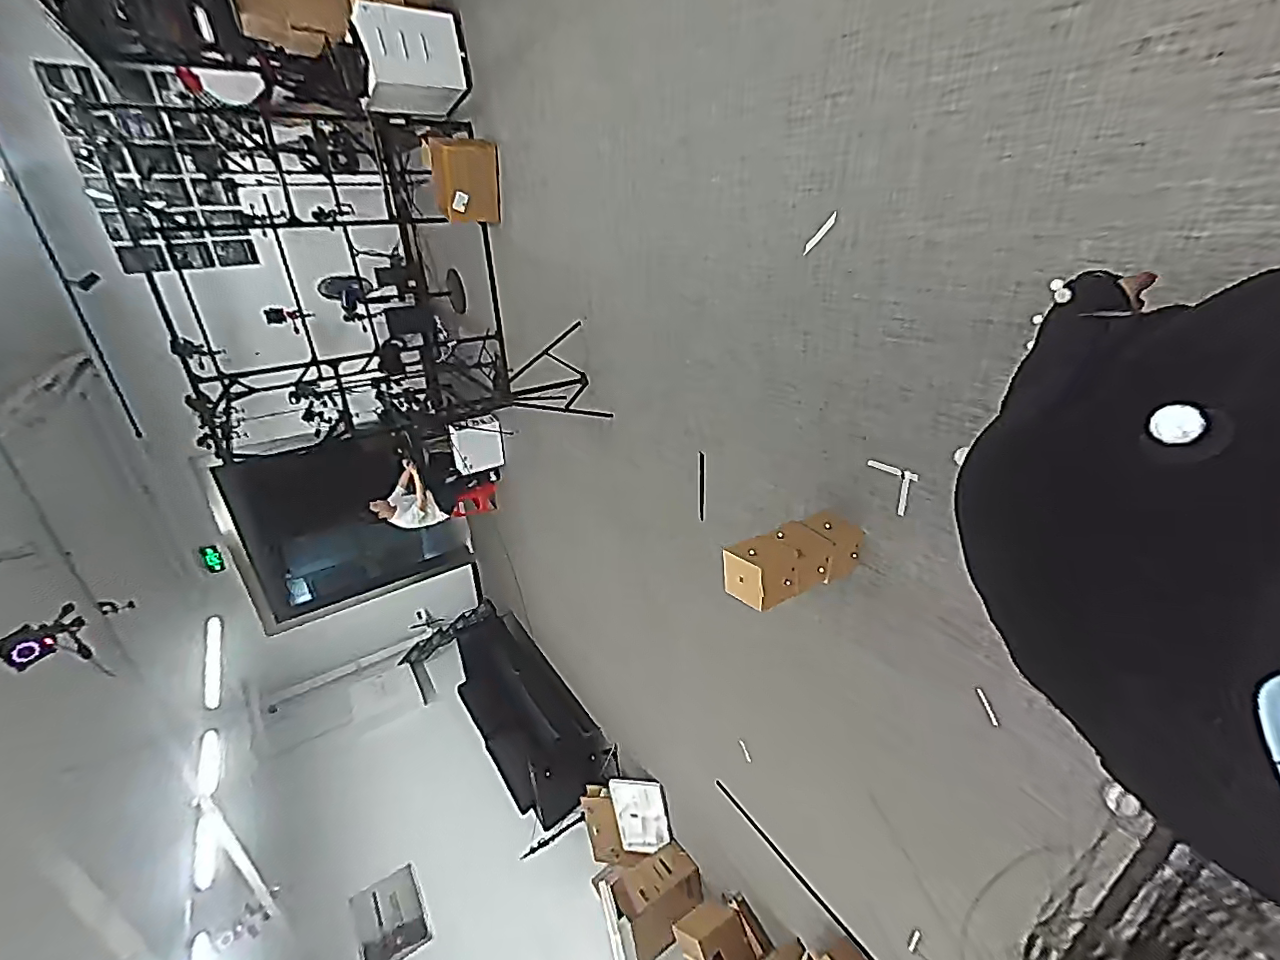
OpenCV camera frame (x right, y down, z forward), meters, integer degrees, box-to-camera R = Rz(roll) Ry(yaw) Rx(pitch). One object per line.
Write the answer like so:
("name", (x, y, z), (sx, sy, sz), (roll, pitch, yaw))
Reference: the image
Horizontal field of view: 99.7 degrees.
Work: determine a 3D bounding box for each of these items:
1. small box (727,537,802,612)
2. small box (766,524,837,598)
("small box", (0.410, 0.303, 1.784), (0.179, 0.176, 0.168), (23, 125, 53))
("small box", (0.546, 0.270, 1.868), (0.179, 0.176, 0.168), (36, 136, 45))
